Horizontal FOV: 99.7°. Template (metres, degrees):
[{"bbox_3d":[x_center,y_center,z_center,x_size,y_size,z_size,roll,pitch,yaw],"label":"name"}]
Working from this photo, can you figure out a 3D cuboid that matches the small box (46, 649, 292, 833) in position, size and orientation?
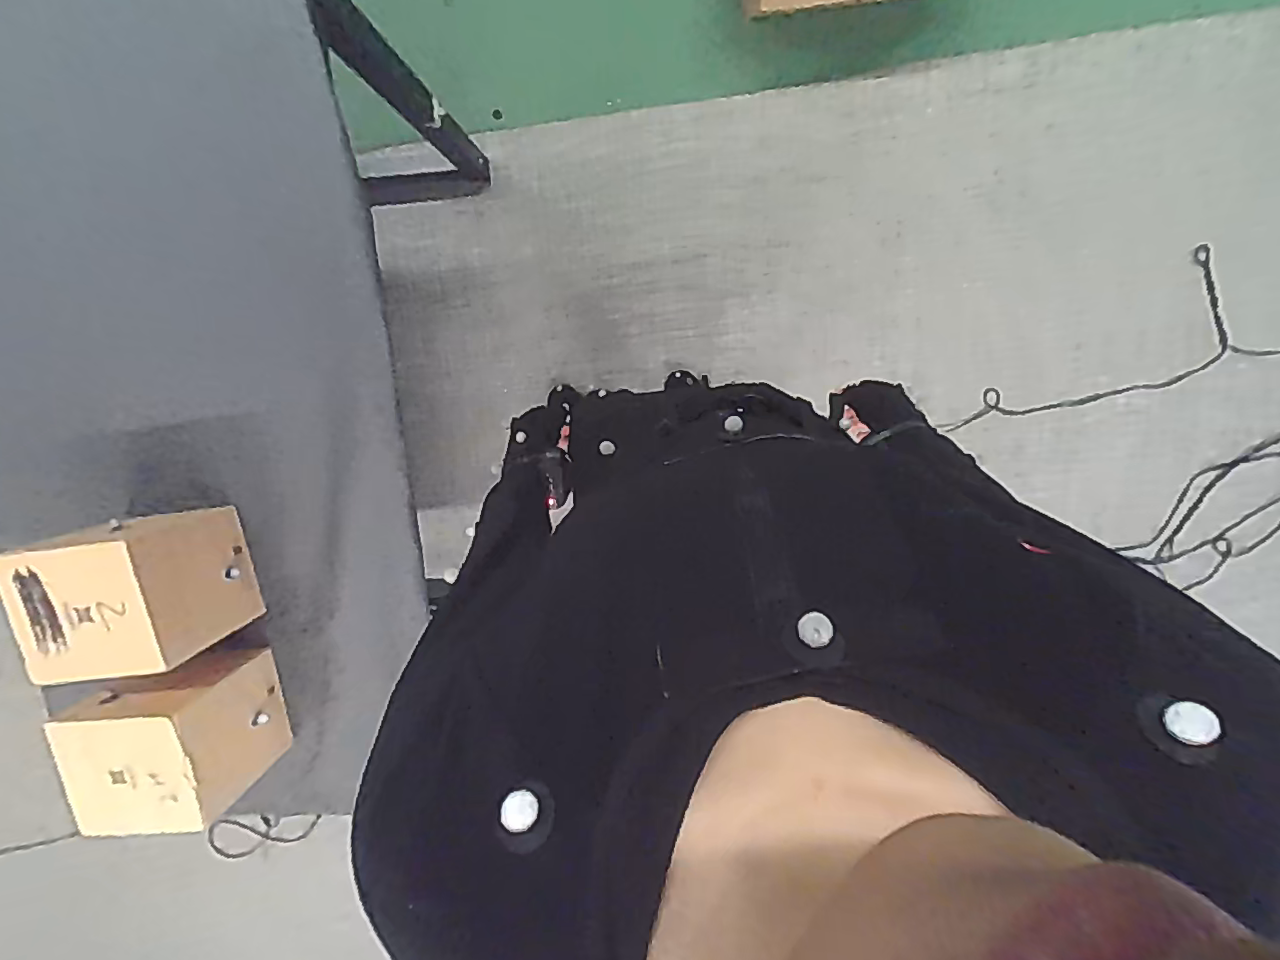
[{"bbox_3d":[-0.631,0.350,0.747,0.179,0.176,0.168,-5,101,4],"label":"small box"}]
